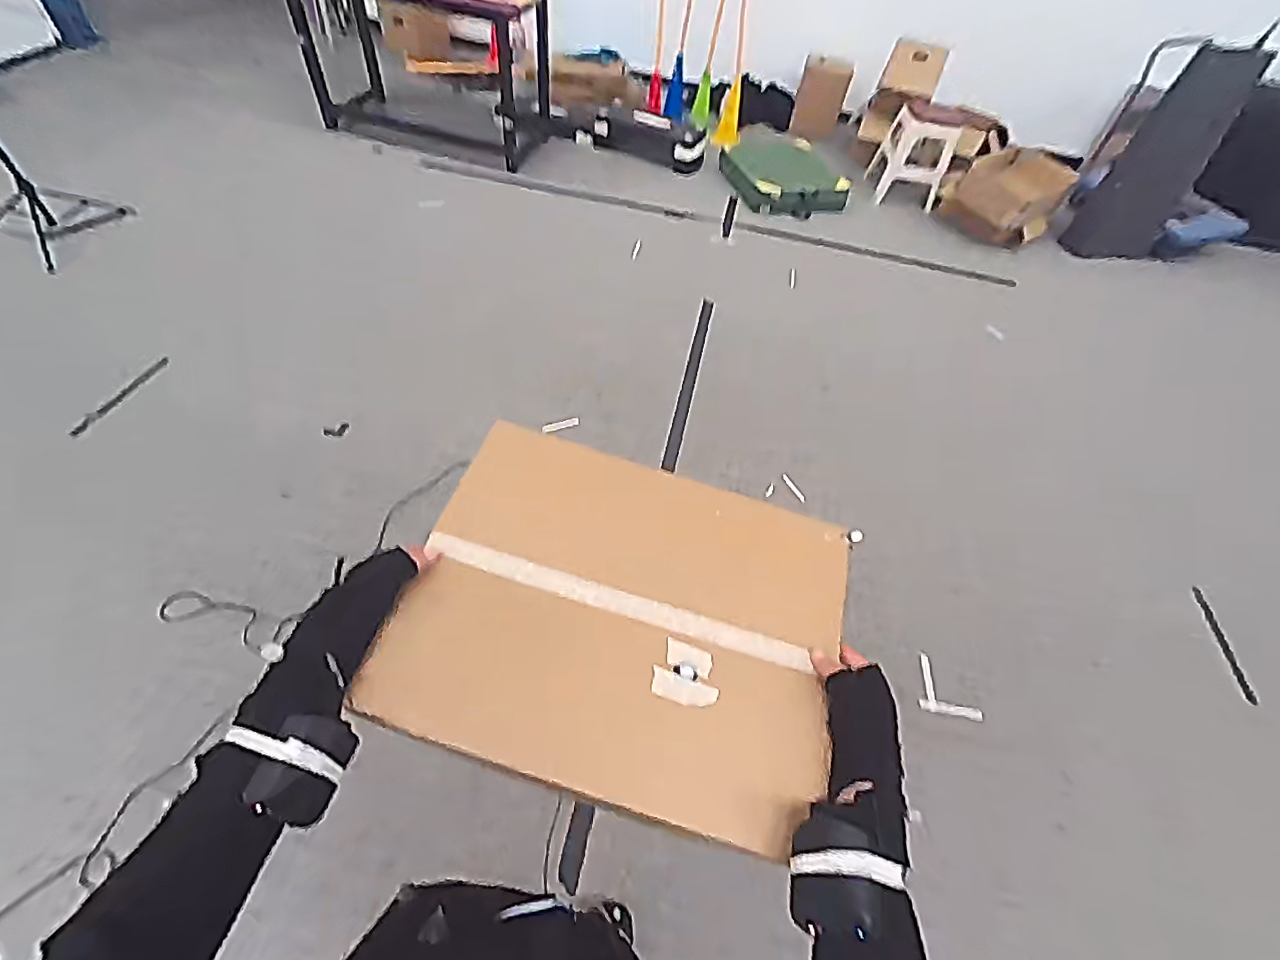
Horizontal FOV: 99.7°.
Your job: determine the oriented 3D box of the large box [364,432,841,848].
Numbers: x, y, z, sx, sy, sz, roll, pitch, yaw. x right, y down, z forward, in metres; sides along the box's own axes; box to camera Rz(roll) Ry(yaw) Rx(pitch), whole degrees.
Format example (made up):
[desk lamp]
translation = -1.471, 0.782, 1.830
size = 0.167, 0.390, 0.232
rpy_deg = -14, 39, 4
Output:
[large box]
translation = -0.027, 0.198, 0.651
size = 0.408, 0.320, 0.320
rpy_deg = 18, 59, 2
